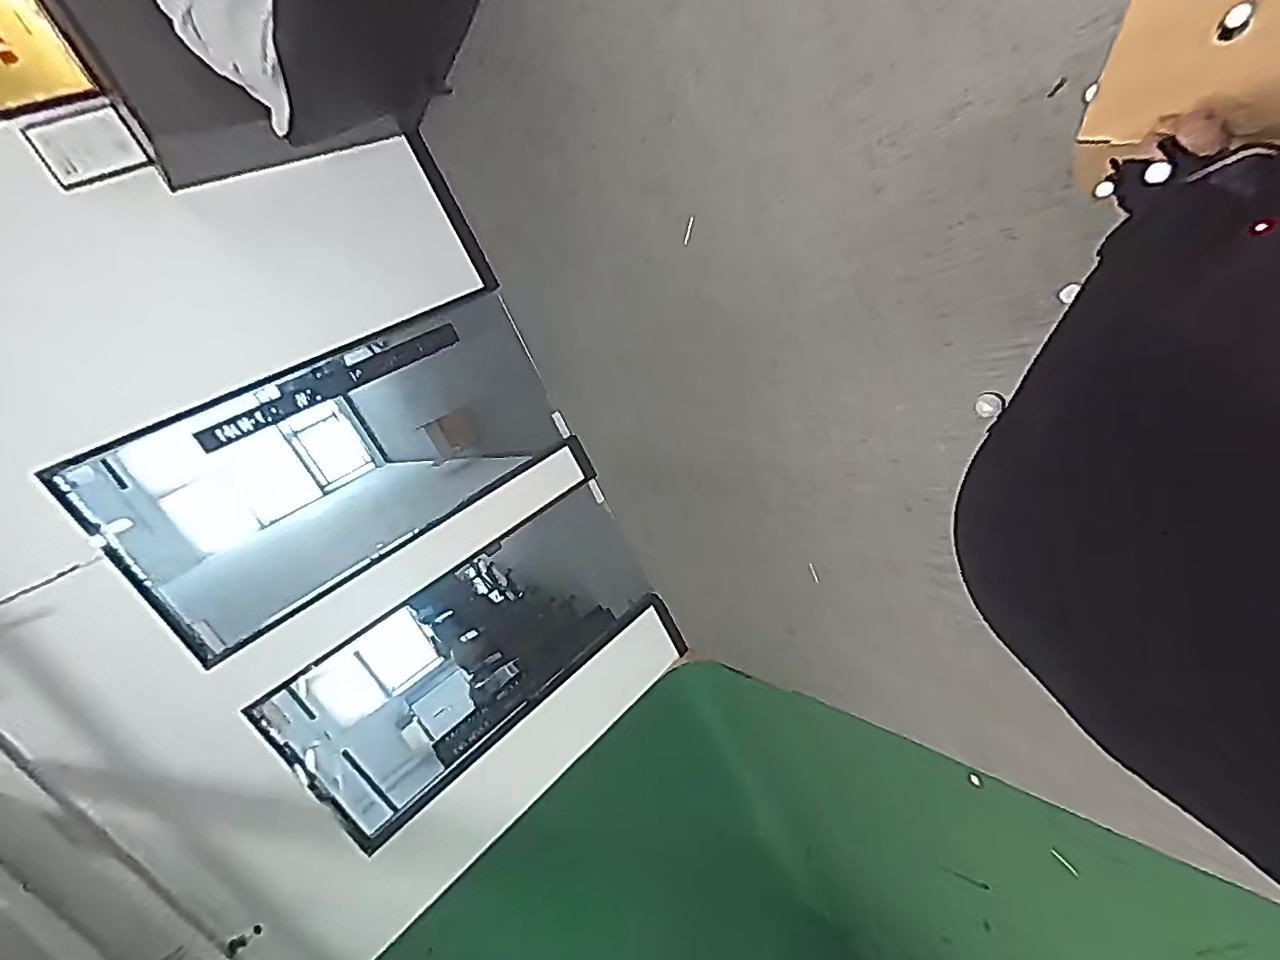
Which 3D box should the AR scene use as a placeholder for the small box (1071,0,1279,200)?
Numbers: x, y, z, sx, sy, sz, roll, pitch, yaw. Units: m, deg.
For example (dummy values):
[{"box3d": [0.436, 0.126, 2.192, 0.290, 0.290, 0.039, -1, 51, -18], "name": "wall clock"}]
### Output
[{"box3d": [0.565, -0.396, 0.541, 0.168, 0.179, 0.176, 23, 110, 34], "name": "small box"}]
